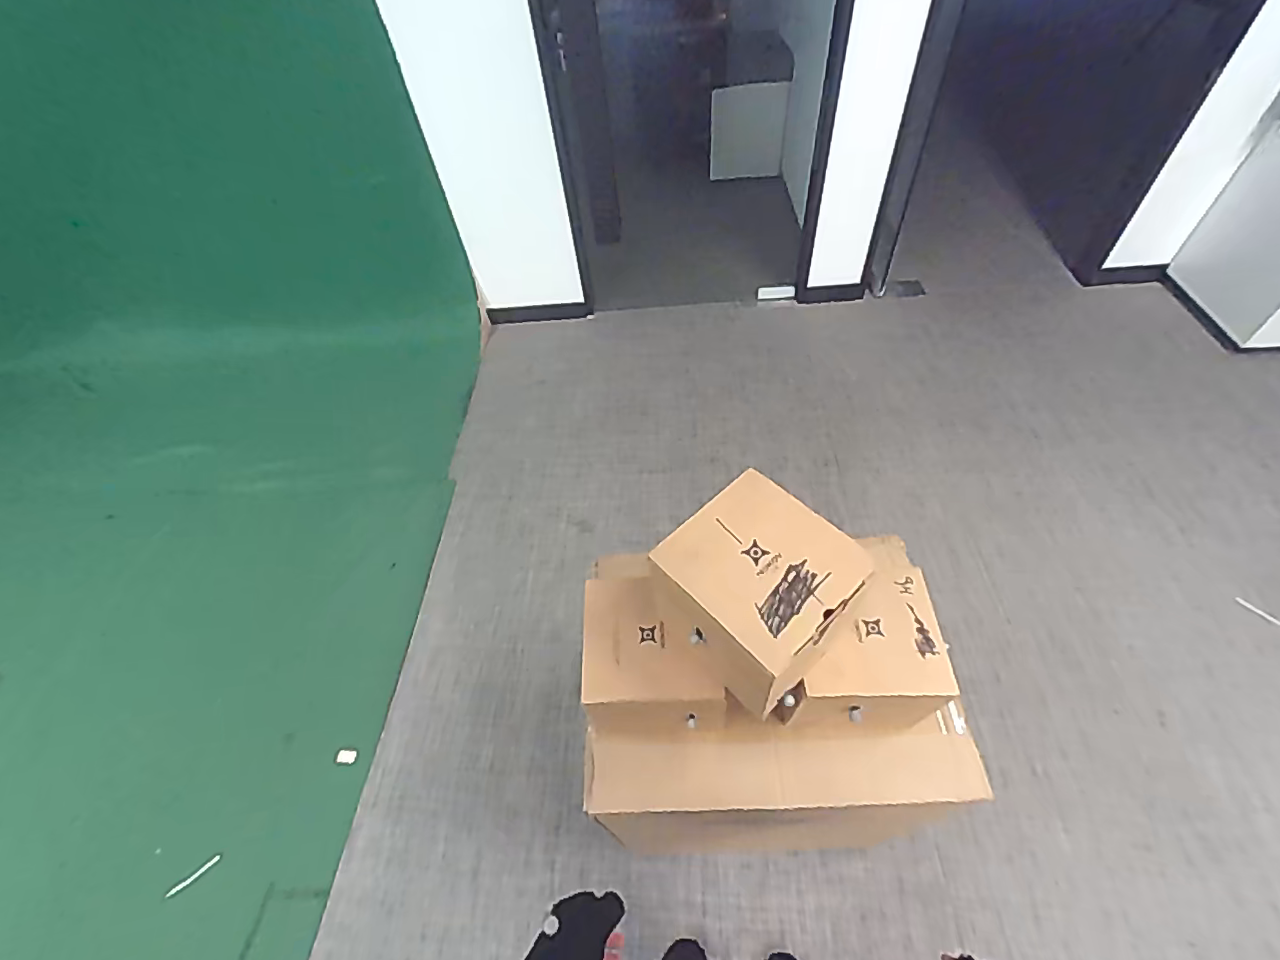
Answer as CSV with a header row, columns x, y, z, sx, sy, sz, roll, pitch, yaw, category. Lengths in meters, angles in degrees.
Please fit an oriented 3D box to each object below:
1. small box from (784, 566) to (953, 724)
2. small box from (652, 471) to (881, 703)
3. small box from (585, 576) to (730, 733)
x,y,z,sx,sy,sz,roll,pitch,yaw,category
0.285,0.230,0.738,0.179,0.176,0.168,-3,54,5,small box
0.136,0.130,0.623,0.168,0.176,0.179,-37,57,-20,small box
0.025,0.245,0.755,0.179,0.176,0.168,-5,52,3,small box
